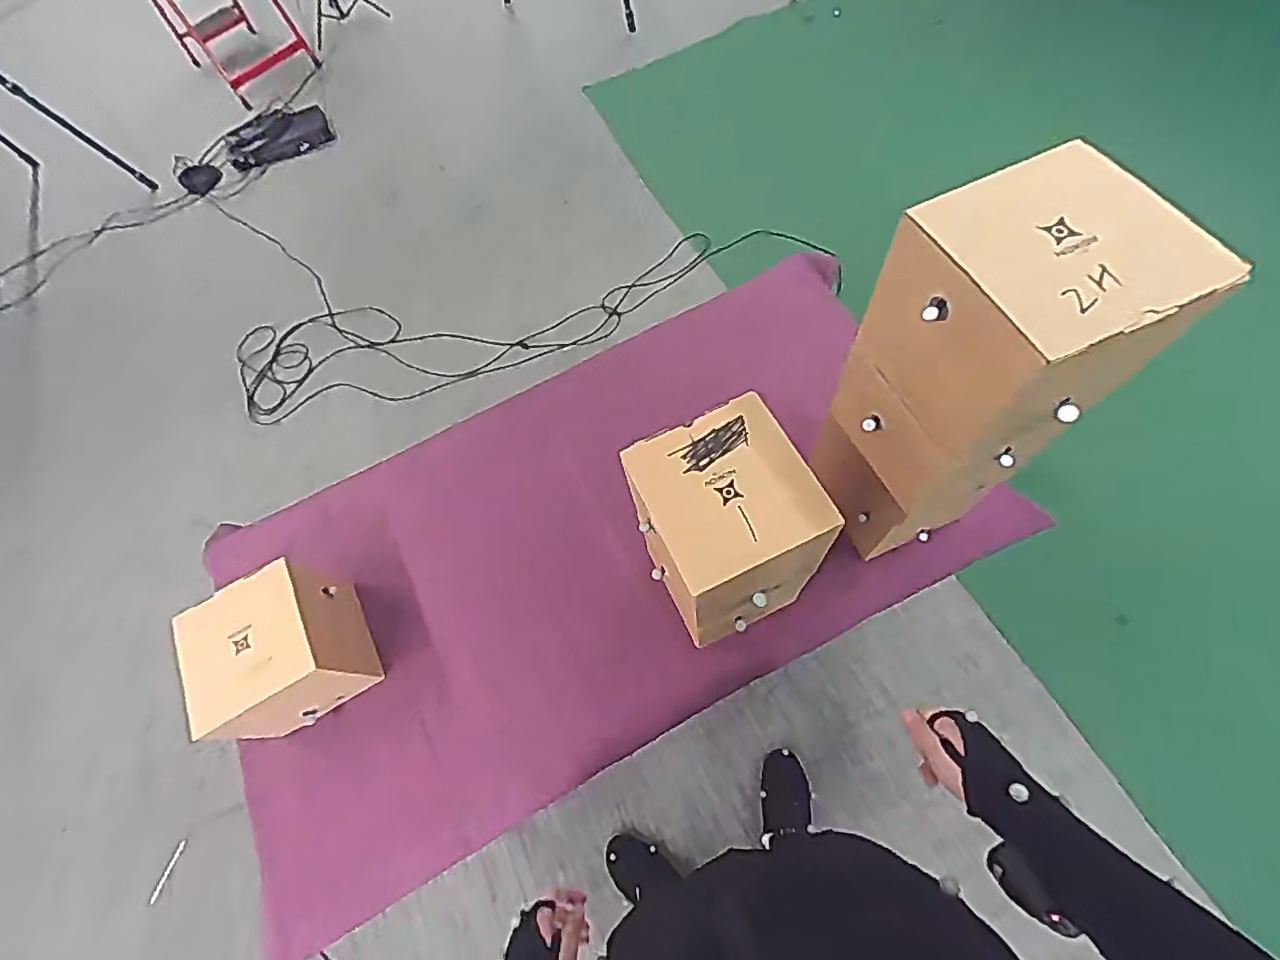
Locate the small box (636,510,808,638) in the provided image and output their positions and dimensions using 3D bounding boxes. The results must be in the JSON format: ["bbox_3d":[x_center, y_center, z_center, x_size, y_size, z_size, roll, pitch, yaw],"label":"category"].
[{"bbox_3d":[0.112,0.109,0.762,0.168,0.176,0.179,-25,64,-4],"label":"small box"}]

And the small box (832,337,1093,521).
[{"bbox_3d":[0.348,-0.079,0.632,0.168,0.176,0.179,-24,64,-2],"label":"small box"}]

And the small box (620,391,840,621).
[{"bbox_3d":[0.093,0.038,0.615,0.168,0.176,0.179,-25,65,-4],"label":"small box"}]

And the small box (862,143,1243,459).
[{"bbox_3d":[0.329,-0.148,0.484,0.168,0.176,0.179,-23,65,-2],"label":"small box"}]

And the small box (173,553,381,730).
[{"bbox_3d":[-0.511,0.237,0.779,0.168,0.176,0.179,-30,67,-6],"label":"small box"}]
